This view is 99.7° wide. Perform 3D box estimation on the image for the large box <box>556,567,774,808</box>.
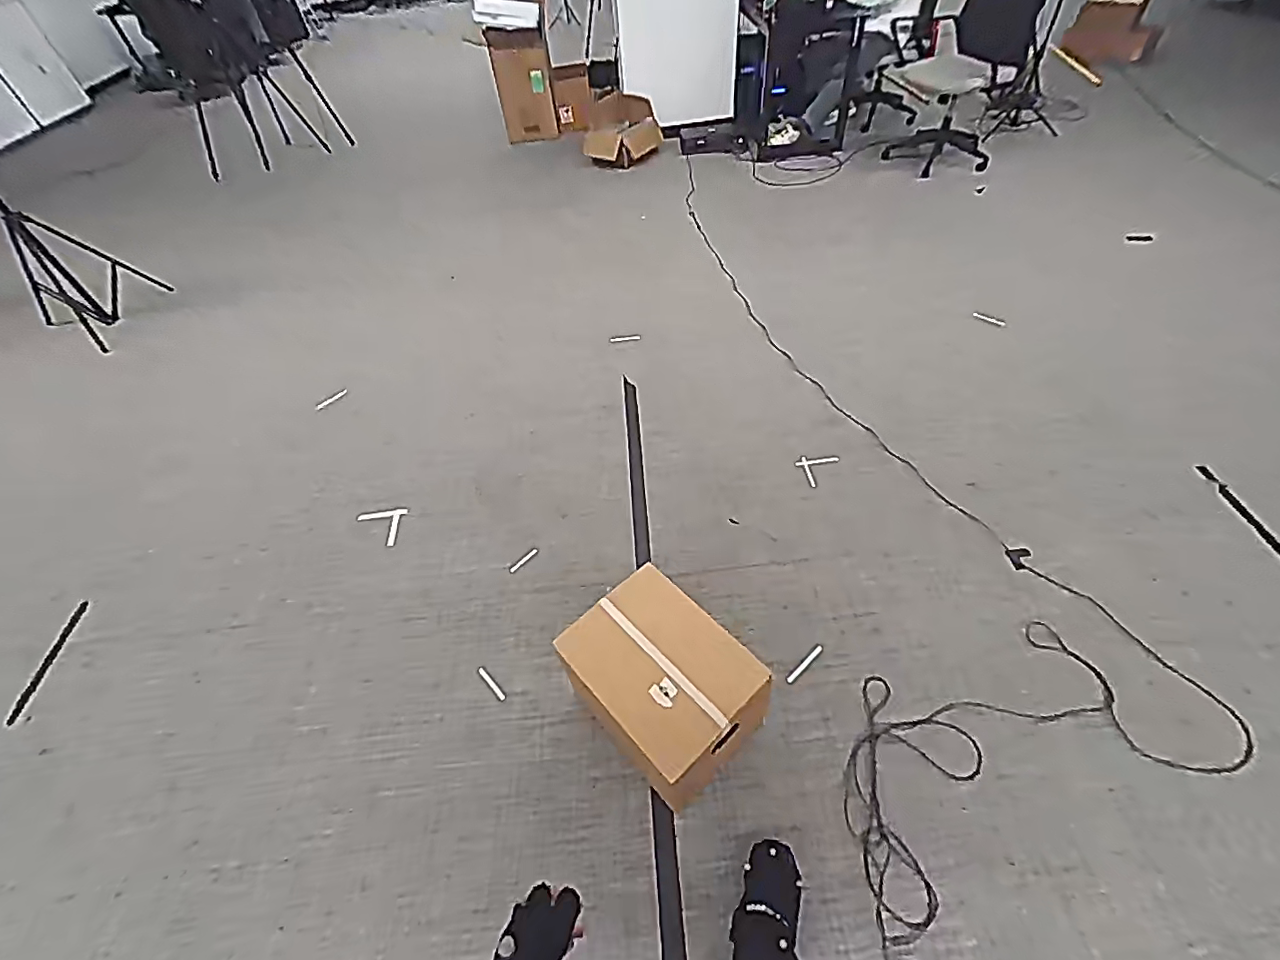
[{"bbox_3d":[0.056,0.498,1.325,0.320,0.320,0.408,-37,56,-23],"label":"large box"}]
